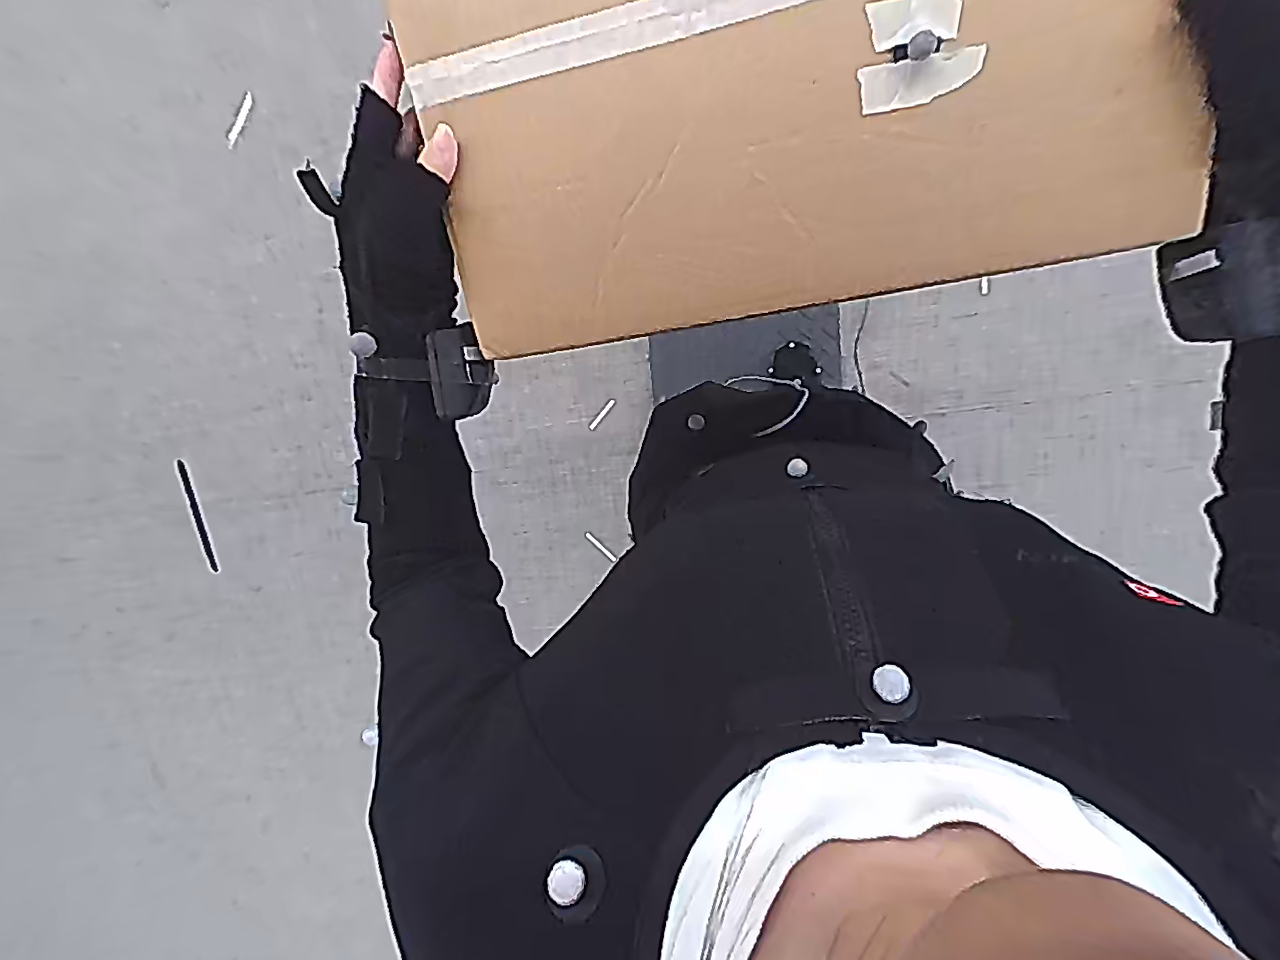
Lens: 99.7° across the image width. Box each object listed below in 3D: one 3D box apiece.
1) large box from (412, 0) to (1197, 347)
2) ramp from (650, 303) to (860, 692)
[{"bbox_3d":[0.088,-0.307,0.426,0.408,0.320,0.320,-8,108,10],"label":"large box"},{"bbox_3d":[0.294,0.060,1.430,0.509,0.206,0.991,-5,100,12],"label":"ramp"}]
